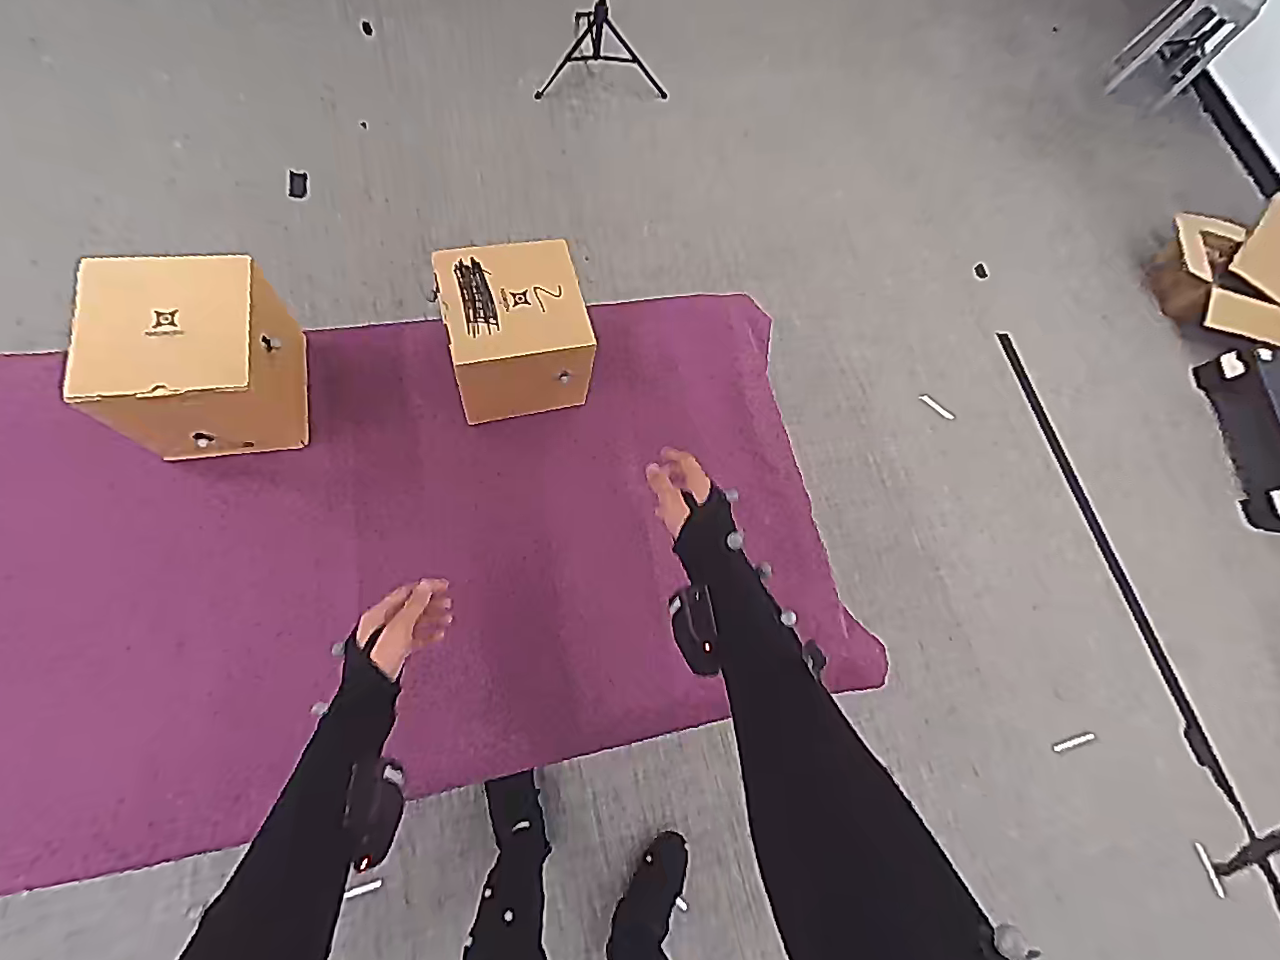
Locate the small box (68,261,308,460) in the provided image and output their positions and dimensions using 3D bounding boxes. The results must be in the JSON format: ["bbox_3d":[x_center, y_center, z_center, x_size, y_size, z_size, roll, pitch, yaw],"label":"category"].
[{"bbox_3d":[-0.526,-0.140,0.660,0.168,0.176,0.179,-7,73,-14],"label":"small box"}]
